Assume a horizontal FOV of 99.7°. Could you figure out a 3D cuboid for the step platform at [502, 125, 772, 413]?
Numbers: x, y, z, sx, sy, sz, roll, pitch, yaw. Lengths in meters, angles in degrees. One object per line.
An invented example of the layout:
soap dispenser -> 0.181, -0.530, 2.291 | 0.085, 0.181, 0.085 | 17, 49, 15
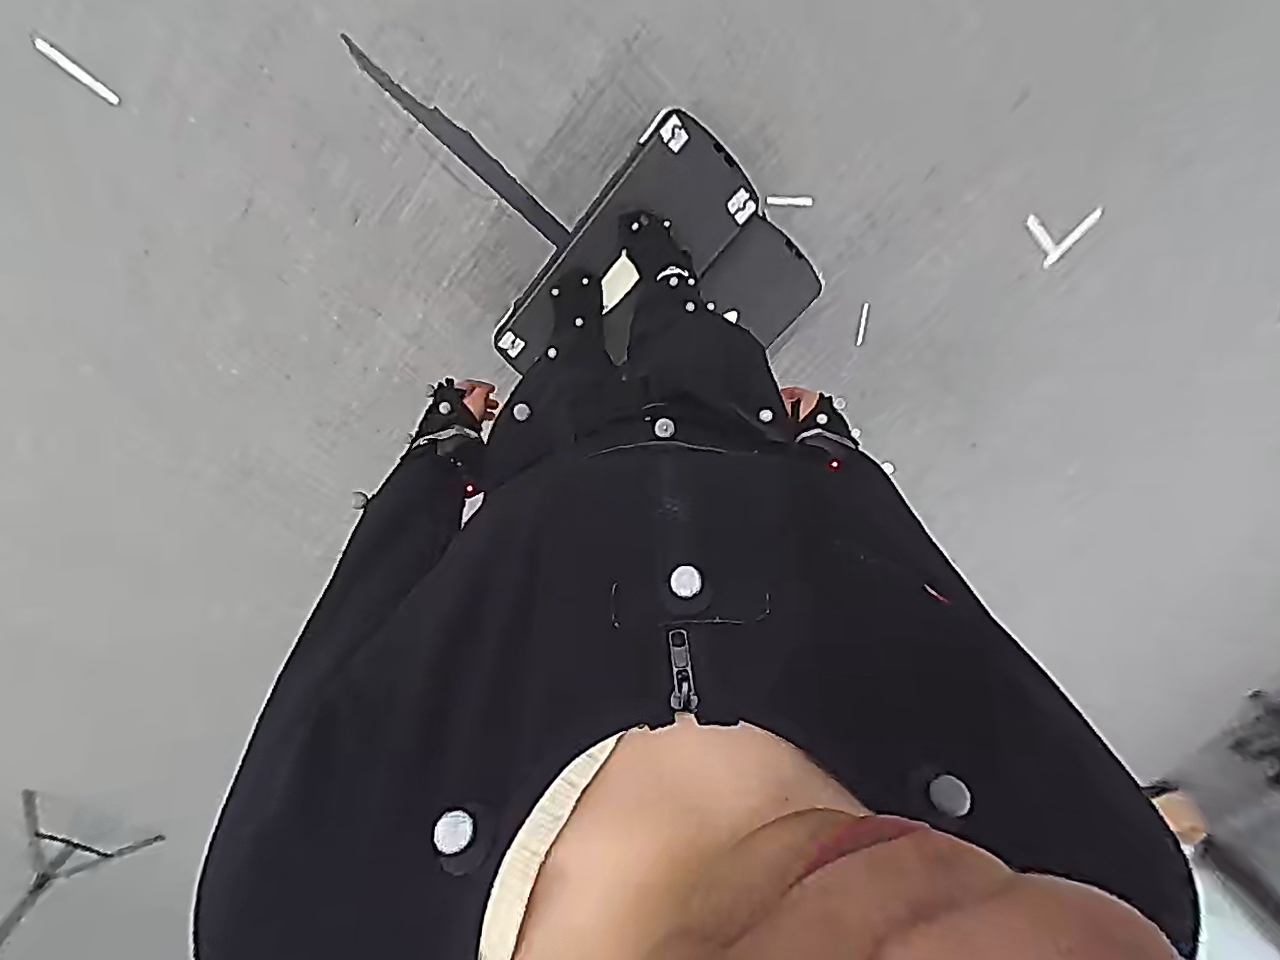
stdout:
step platform -> -0.021, -0.484, 1.306 | 0.684, 0.204, 0.286 | -43, 113, 14
